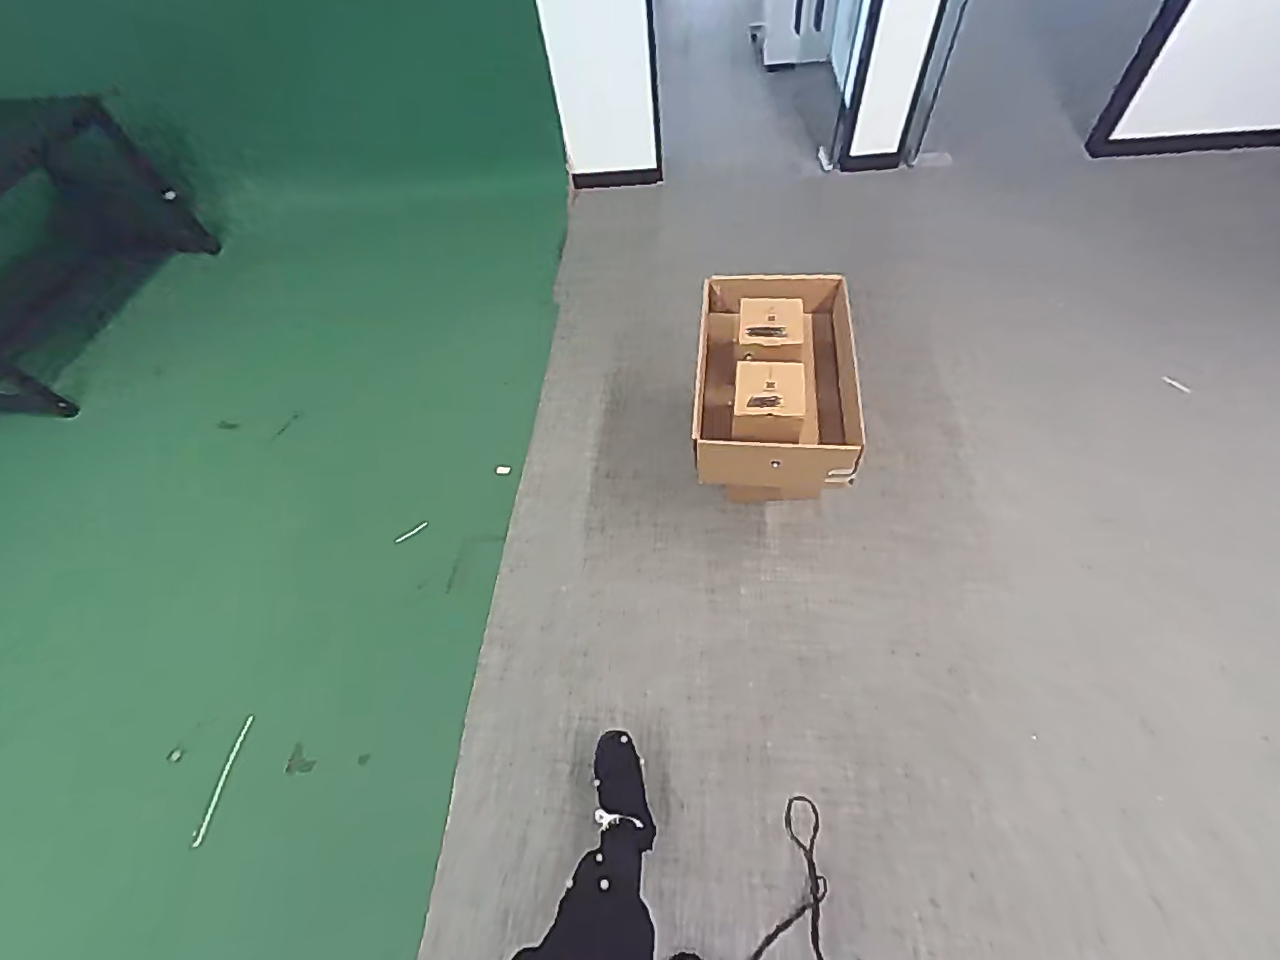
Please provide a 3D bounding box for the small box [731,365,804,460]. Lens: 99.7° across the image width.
[{"bbox_3d":[0.320,-0.167,1.368,0.168,0.176,0.179,4,57,8],"label":"small box"}]
